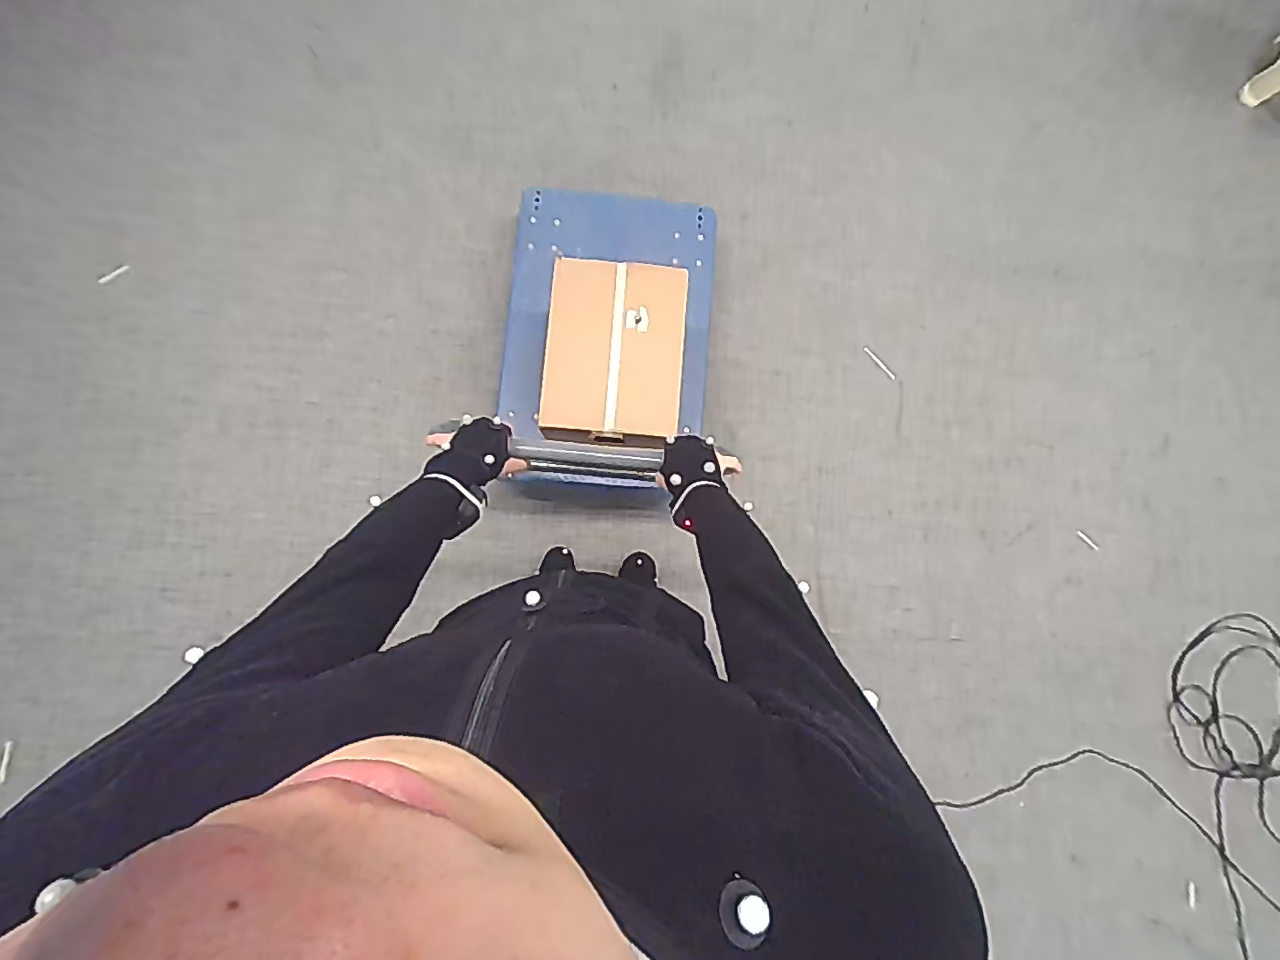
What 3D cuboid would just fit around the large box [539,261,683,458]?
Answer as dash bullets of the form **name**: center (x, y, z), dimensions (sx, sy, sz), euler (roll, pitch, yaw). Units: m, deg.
- **large box**: center (-0.070, -0.282, 1.377), dimensions (0.320, 0.320, 0.408), euler (4, 82, -4)
